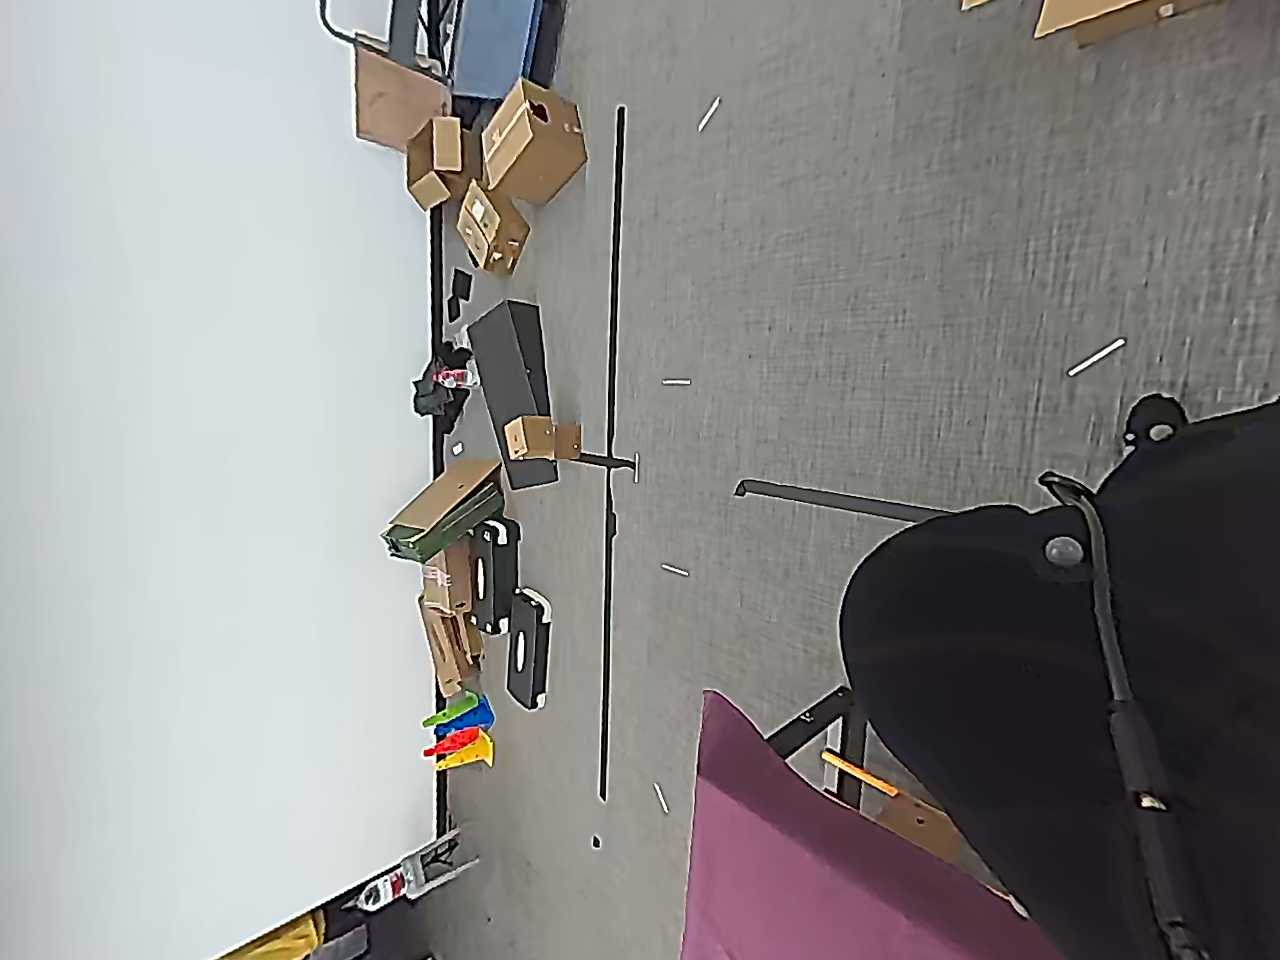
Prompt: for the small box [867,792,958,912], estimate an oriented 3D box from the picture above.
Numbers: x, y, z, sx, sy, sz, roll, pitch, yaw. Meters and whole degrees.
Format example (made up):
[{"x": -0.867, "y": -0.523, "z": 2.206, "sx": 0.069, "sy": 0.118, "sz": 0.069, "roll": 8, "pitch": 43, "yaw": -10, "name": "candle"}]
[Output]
[{"x": 0.743, "y": 0.997, "z": 1.469, "sx": 0.168, "sy": 0.176, "sz": 0.179, "roll": 12, "pitch": 103, "yaw": 46, "name": "small box"}]
